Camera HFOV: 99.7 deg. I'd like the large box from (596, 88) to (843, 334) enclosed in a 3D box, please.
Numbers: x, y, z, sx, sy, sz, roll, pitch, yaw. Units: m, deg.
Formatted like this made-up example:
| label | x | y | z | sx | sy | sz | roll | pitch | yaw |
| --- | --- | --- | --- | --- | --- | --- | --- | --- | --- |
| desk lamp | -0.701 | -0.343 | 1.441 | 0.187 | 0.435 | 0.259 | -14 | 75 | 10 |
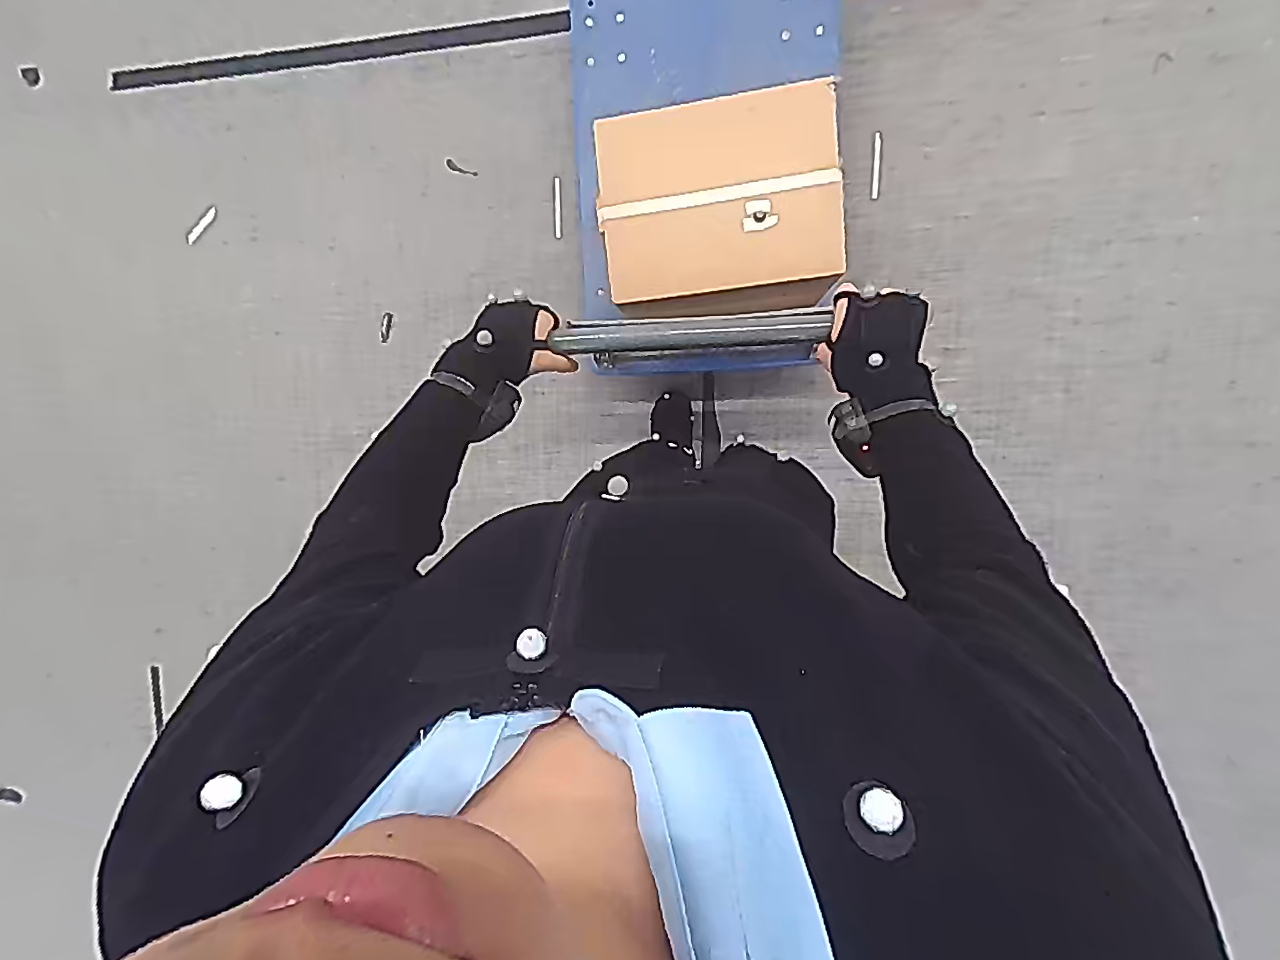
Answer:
| label | x | y | z | sx | sy | sz | roll | pitch | yaw |
| --- | --- | --- | --- | --- | --- | --- | --- | --- | --- |
| large box | 0.151 | -0.494 | 1.079 | 0.408 | 0.320 | 0.320 | -5 | 97 | 7 |
